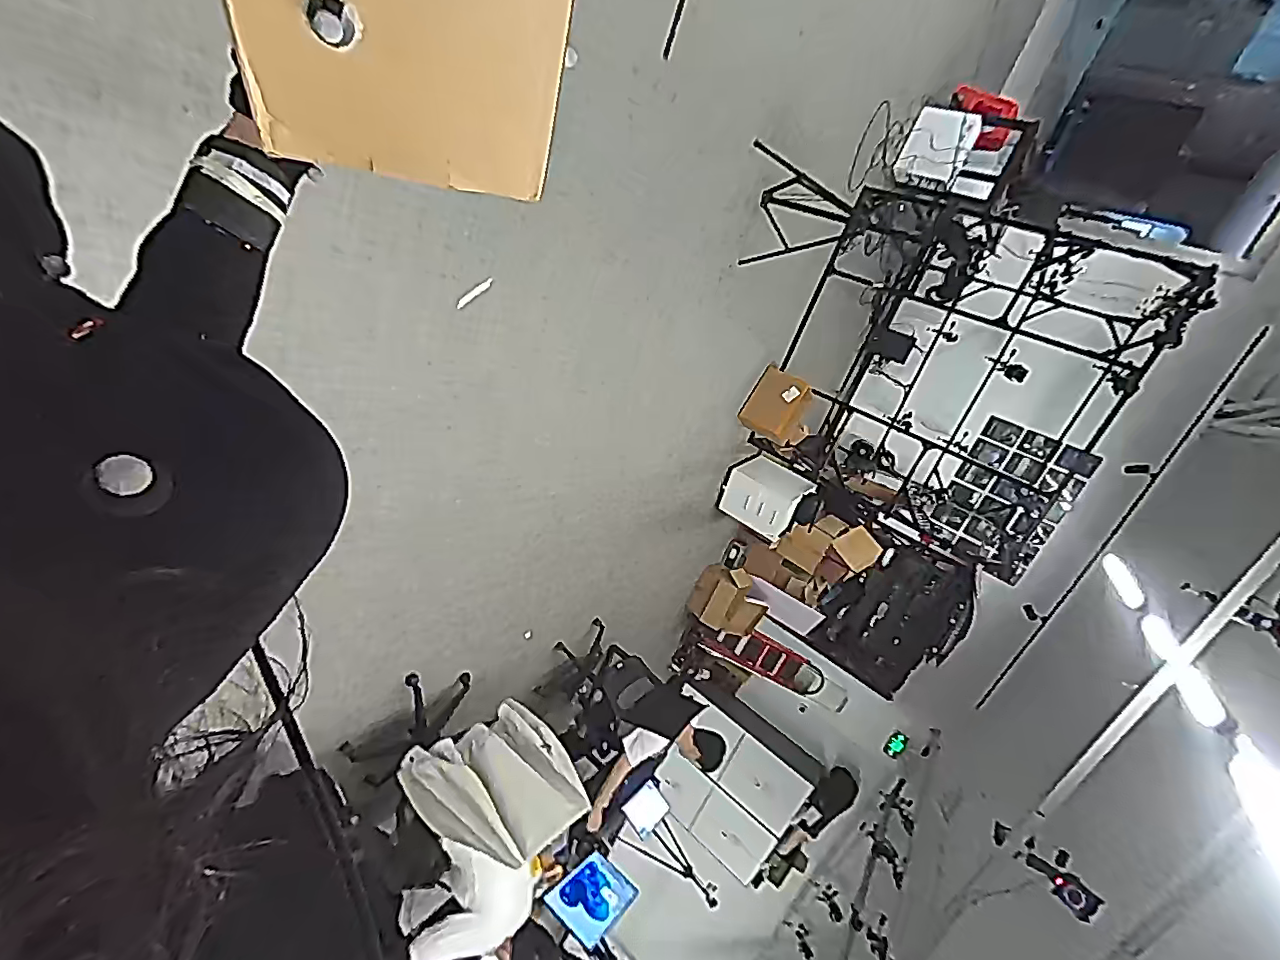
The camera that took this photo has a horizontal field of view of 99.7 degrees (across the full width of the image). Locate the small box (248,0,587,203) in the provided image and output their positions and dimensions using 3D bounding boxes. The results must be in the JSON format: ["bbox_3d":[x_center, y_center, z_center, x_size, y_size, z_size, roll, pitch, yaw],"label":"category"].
[{"bbox_3d":[-0.127,-0.304,0.319,0.168,0.179,0.176,2,146,-22],"label":"small box"}]
